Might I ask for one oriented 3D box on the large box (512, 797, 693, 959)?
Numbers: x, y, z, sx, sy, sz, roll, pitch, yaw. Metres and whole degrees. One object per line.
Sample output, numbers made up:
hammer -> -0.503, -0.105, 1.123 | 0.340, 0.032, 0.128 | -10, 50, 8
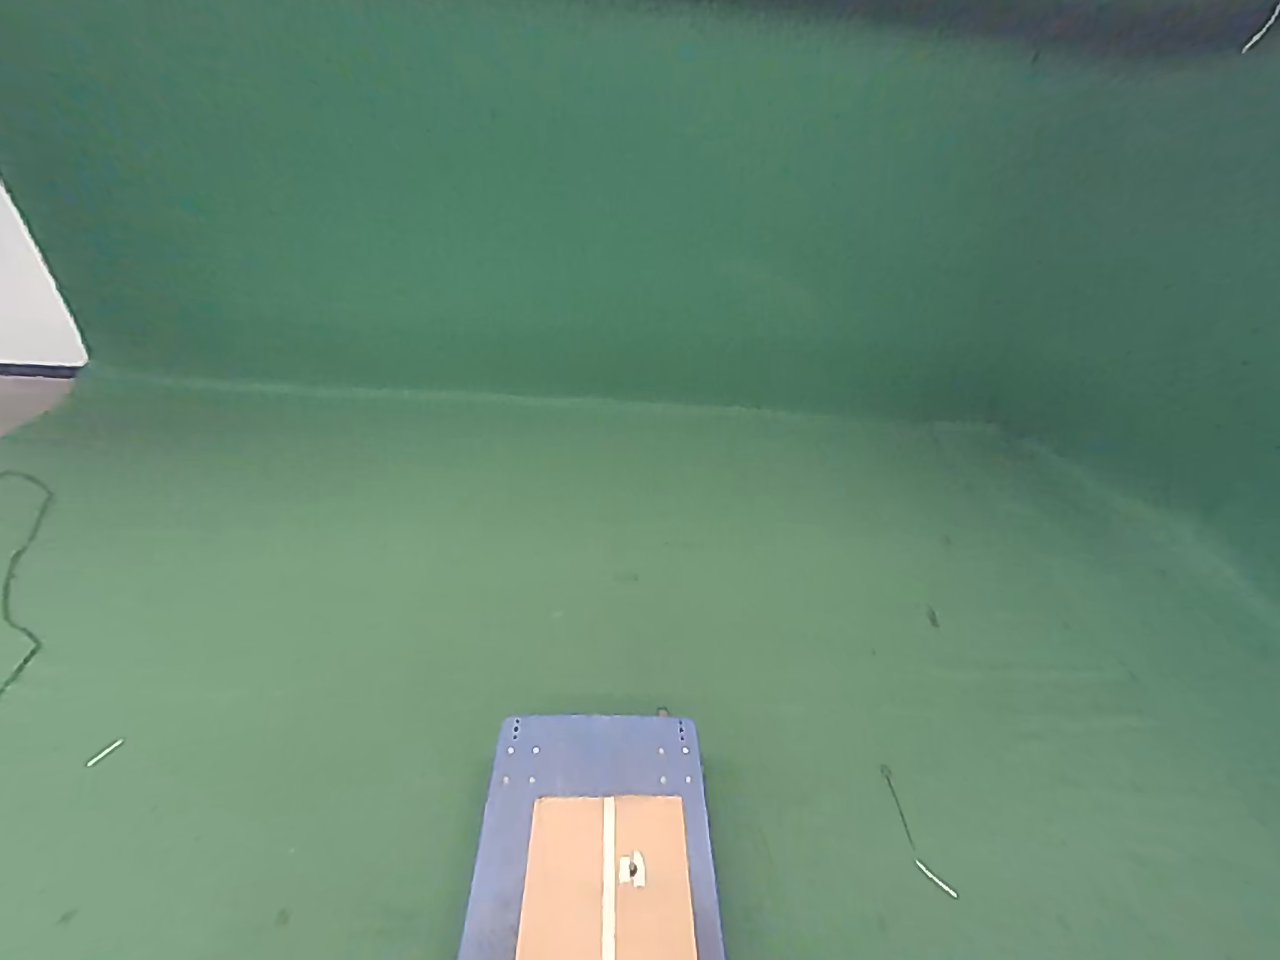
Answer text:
large box -> -0.076, 0.907, 1.057 | 0.320, 0.320, 0.408 | 3, 33, -5
